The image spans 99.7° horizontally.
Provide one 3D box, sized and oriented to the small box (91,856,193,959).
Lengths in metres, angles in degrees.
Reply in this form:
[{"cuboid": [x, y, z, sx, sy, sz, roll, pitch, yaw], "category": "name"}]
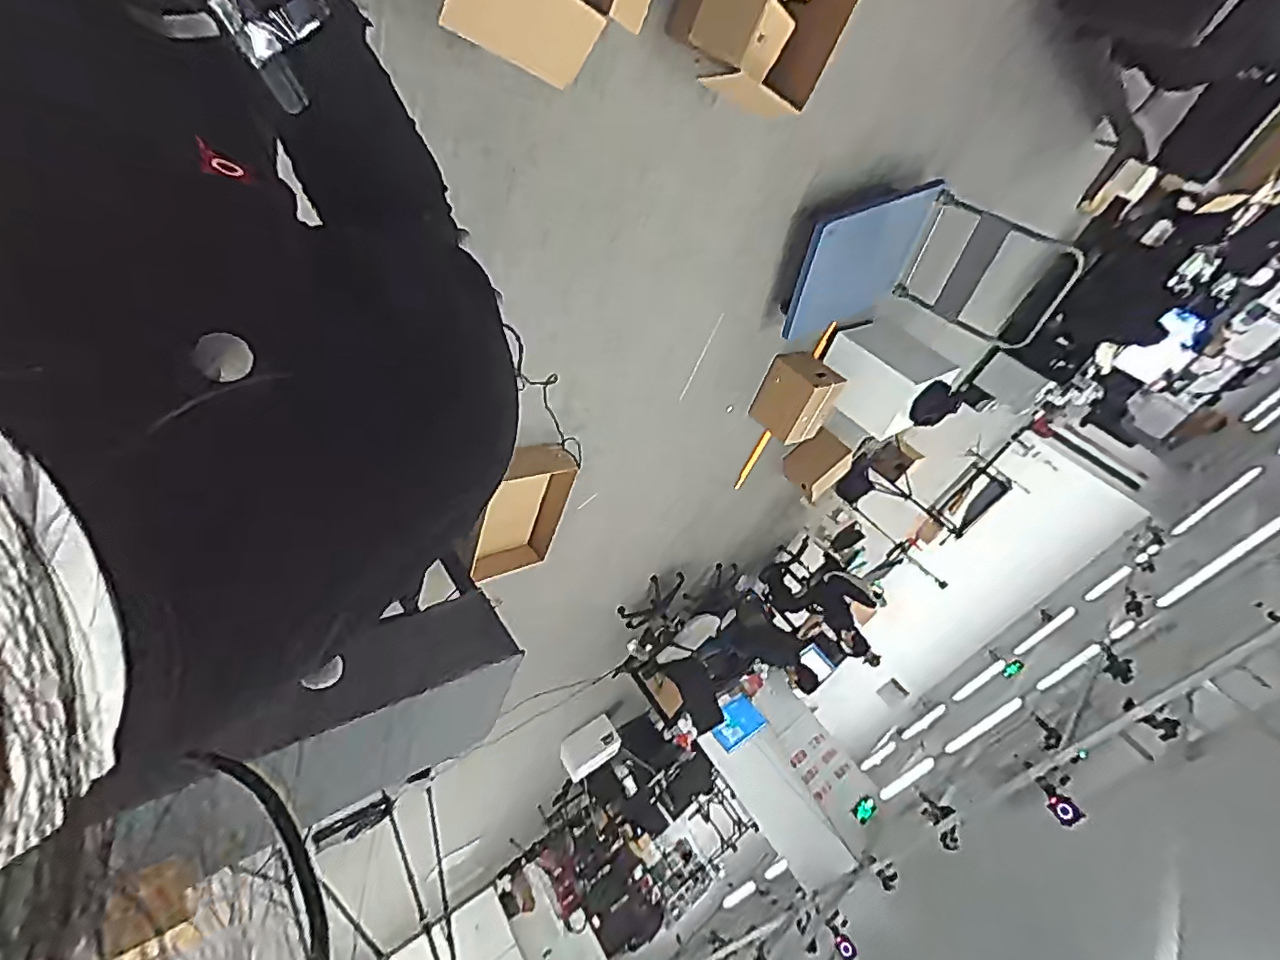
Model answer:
[{"cuboid": [-1.210, 1.066, 1.316, 0.168, 0.176, 0.179, -8, 135, -46], "category": "small box"}]
